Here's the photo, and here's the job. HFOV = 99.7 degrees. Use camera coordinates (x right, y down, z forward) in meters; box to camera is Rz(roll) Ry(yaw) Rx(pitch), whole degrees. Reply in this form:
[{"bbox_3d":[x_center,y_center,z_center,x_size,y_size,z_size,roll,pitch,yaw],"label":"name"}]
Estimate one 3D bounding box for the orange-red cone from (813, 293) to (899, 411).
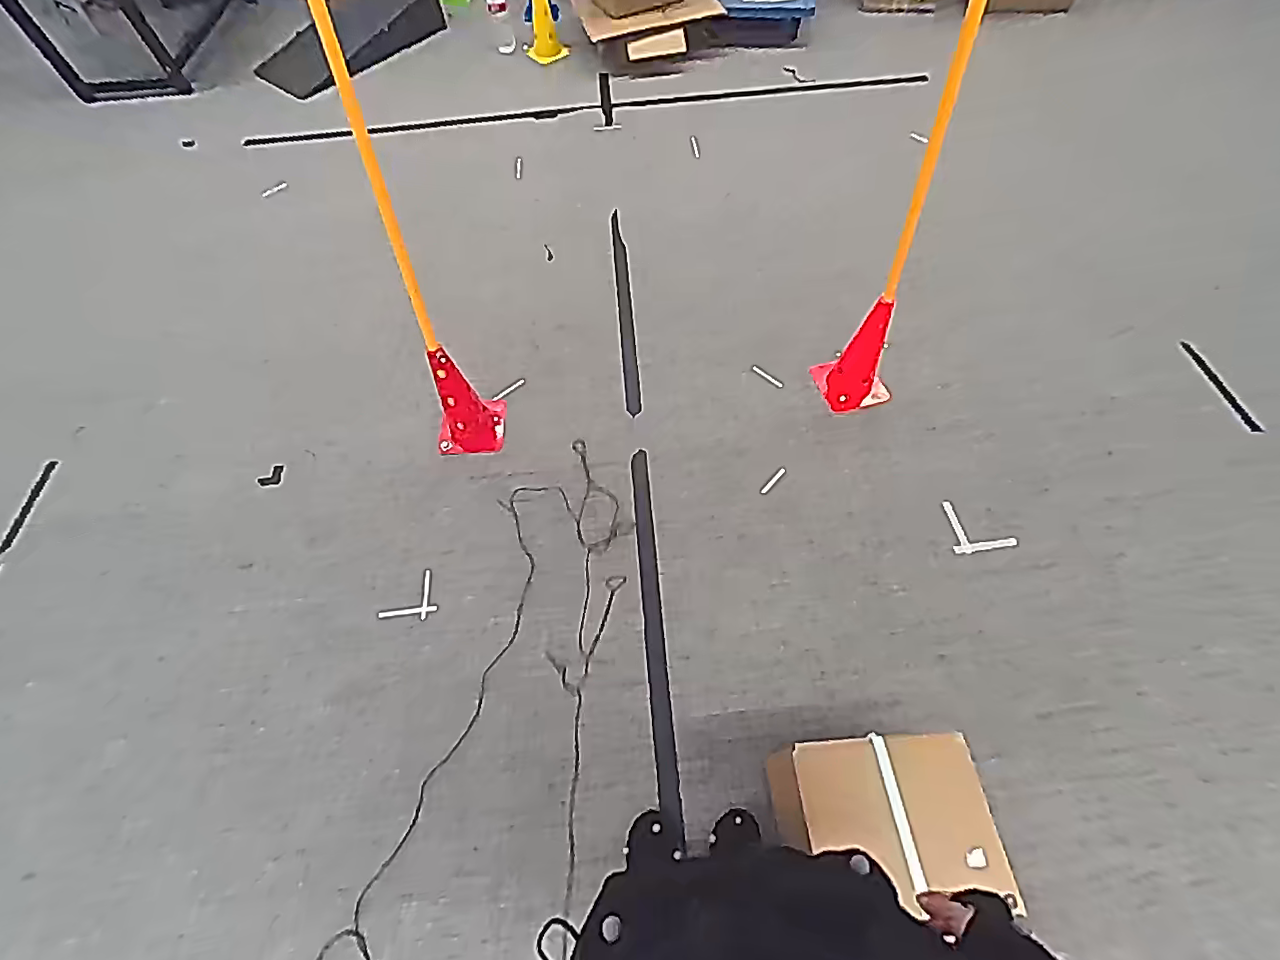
[{"bbox_3d":[0.670,-0.396,1.580,0.199,0.360,0.198,-13,61,-6],"label":"orange-red cone"}]
